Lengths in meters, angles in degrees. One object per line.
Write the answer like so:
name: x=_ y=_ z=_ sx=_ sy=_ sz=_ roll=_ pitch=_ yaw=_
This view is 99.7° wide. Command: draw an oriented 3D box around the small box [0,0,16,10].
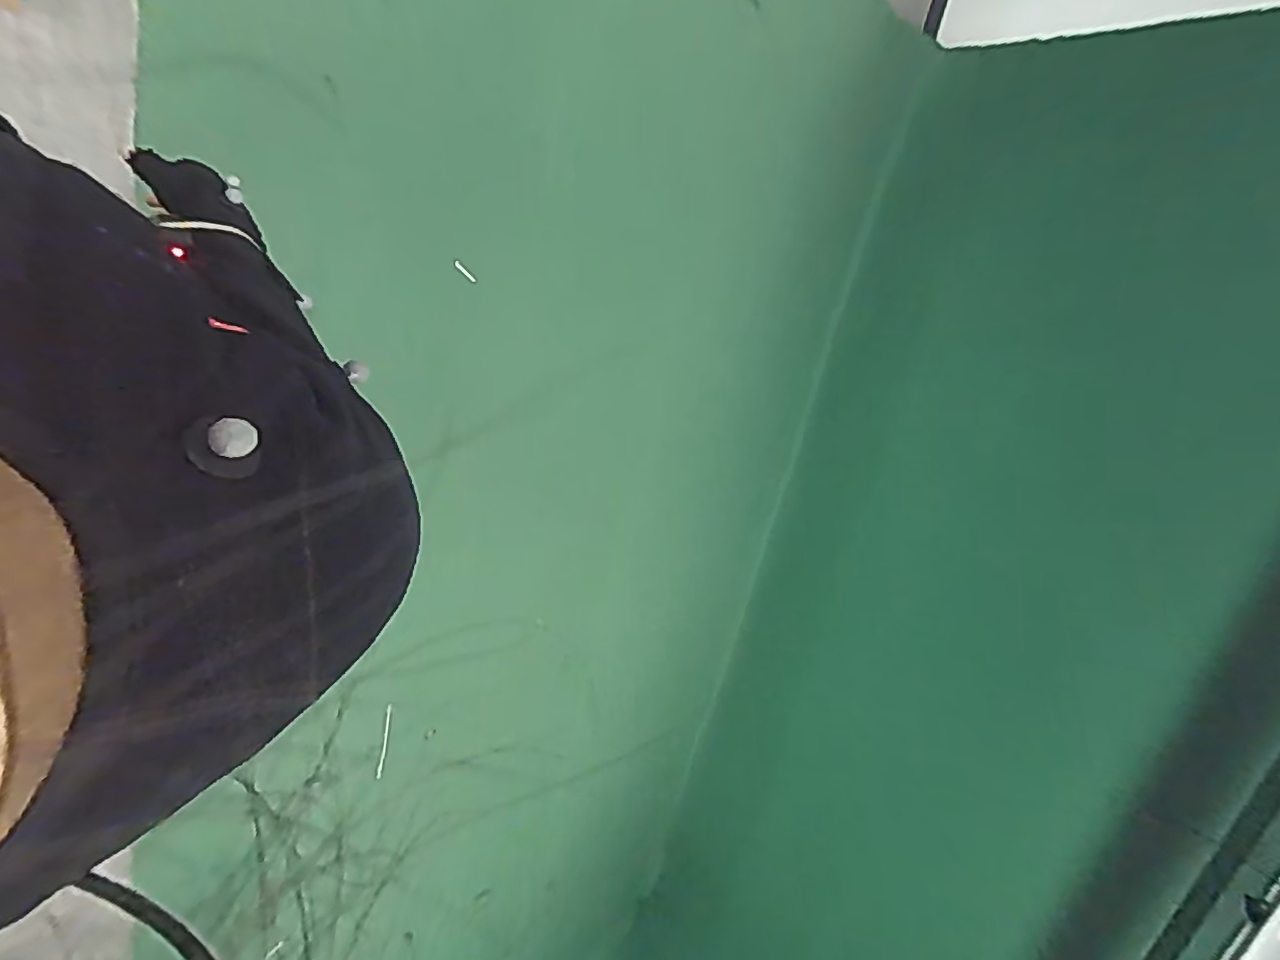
small box: x=-0.971 y=-0.798 z=0.735 sx=0.168 sy=0.176 sz=0.179 roll=2 pitch=109 yaw=-50
